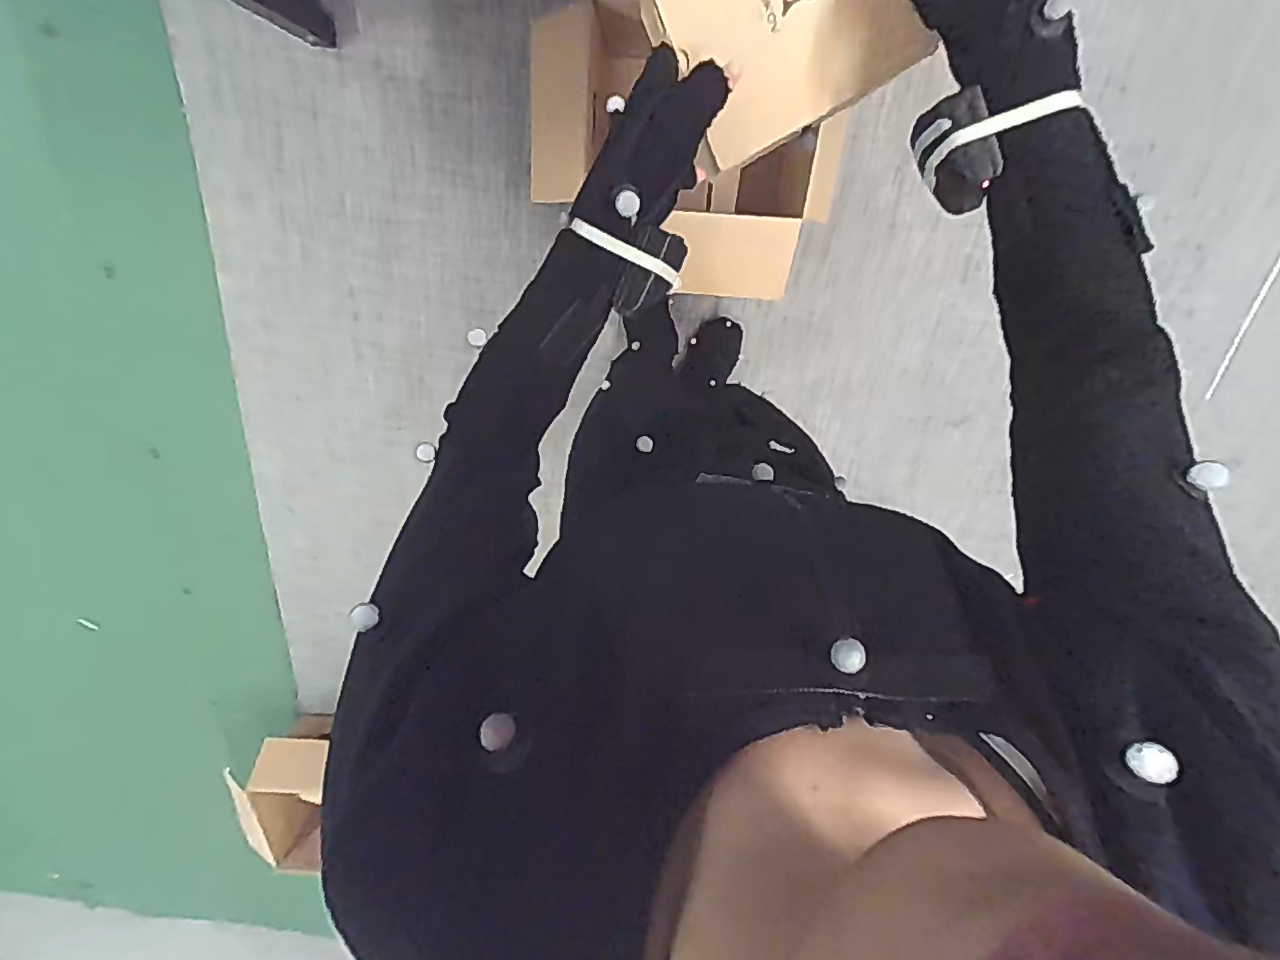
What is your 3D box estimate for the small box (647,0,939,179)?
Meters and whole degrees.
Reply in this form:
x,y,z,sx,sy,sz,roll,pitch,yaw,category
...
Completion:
x,y,z,sx,sy,sz,roll,pitch,yaw,category
0.112,-0.381,0.457,0.179,0.176,0.168,-23,113,16,small box
